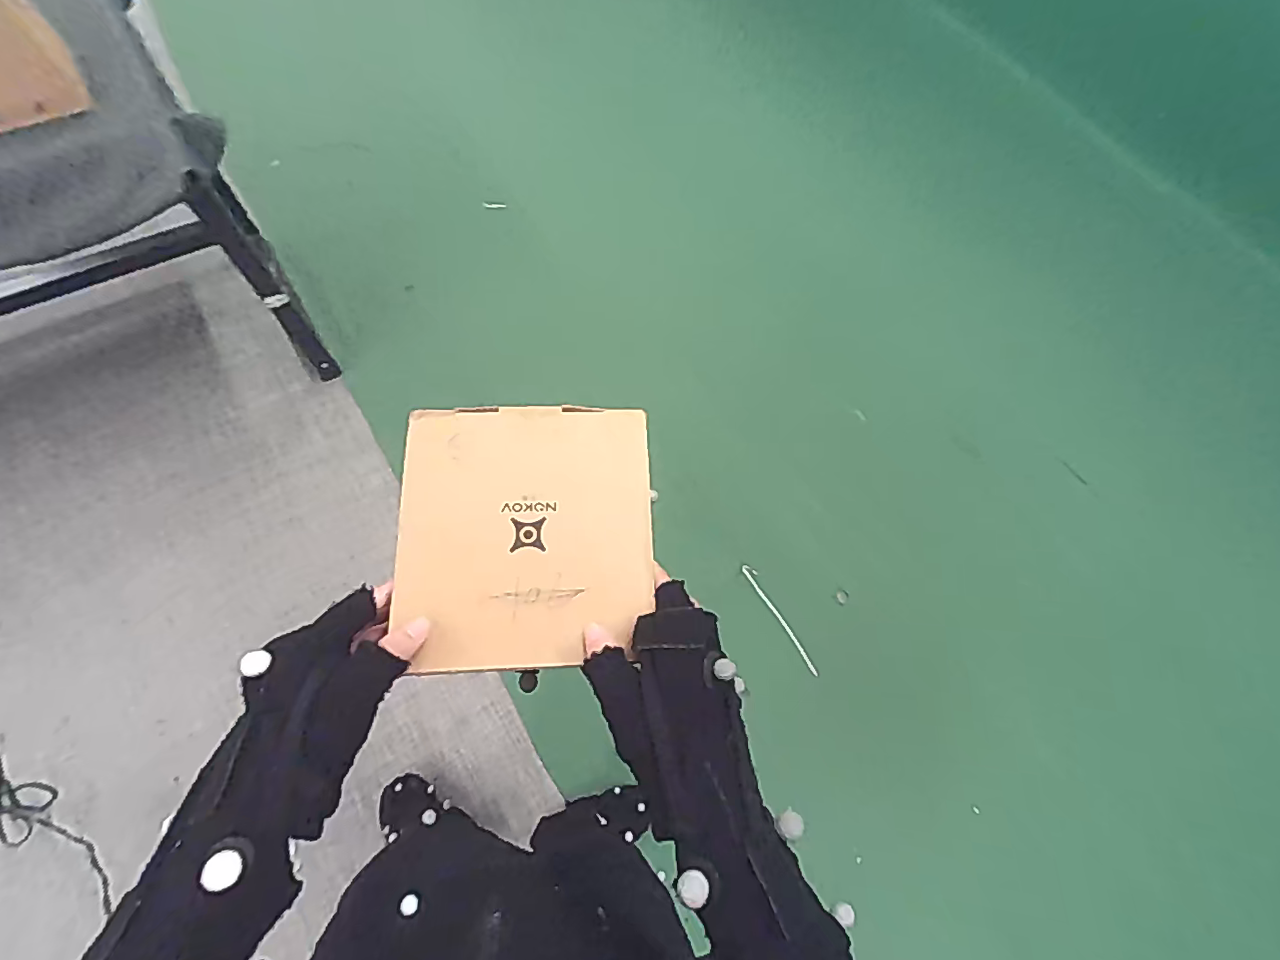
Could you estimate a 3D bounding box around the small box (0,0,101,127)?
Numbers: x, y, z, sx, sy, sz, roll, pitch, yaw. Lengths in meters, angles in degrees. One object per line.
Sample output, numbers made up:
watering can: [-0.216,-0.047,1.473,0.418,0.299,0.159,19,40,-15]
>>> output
small box: [-0.966,-0.661,0.804,0.168,0.176,0.179,-29,71,-16]

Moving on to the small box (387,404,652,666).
small box: [-0.084,0.053,0.436,0.168,0.176,0.179,-2,73,-5]
